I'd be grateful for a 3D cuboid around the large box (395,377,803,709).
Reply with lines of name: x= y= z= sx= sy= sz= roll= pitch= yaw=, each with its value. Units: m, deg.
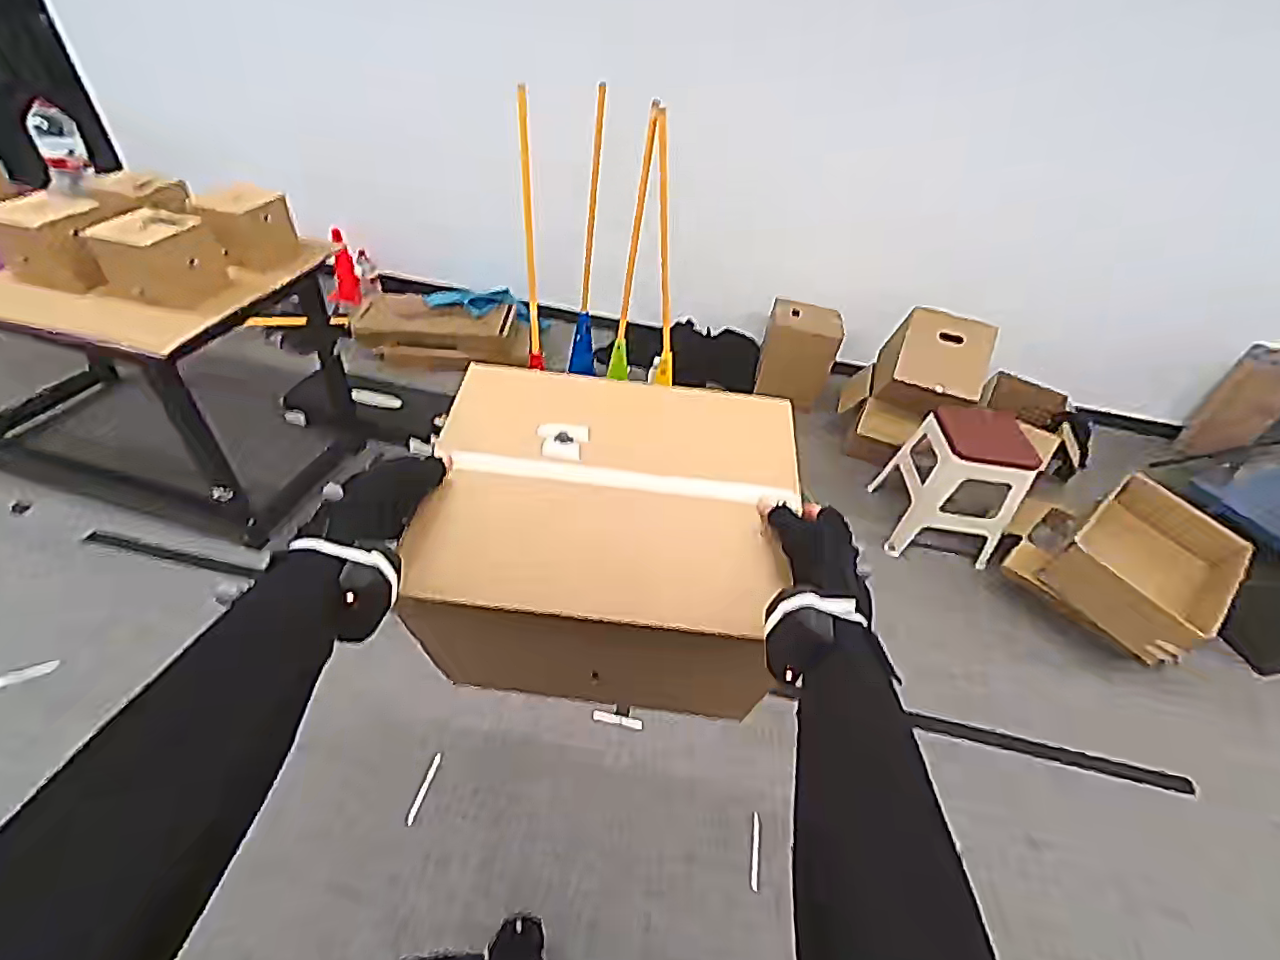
large box: x=-0.034 y=0.097 z=0.726 sx=0.408 sy=0.320 sz=0.320 roll=7 pitch=53 yaw=1
